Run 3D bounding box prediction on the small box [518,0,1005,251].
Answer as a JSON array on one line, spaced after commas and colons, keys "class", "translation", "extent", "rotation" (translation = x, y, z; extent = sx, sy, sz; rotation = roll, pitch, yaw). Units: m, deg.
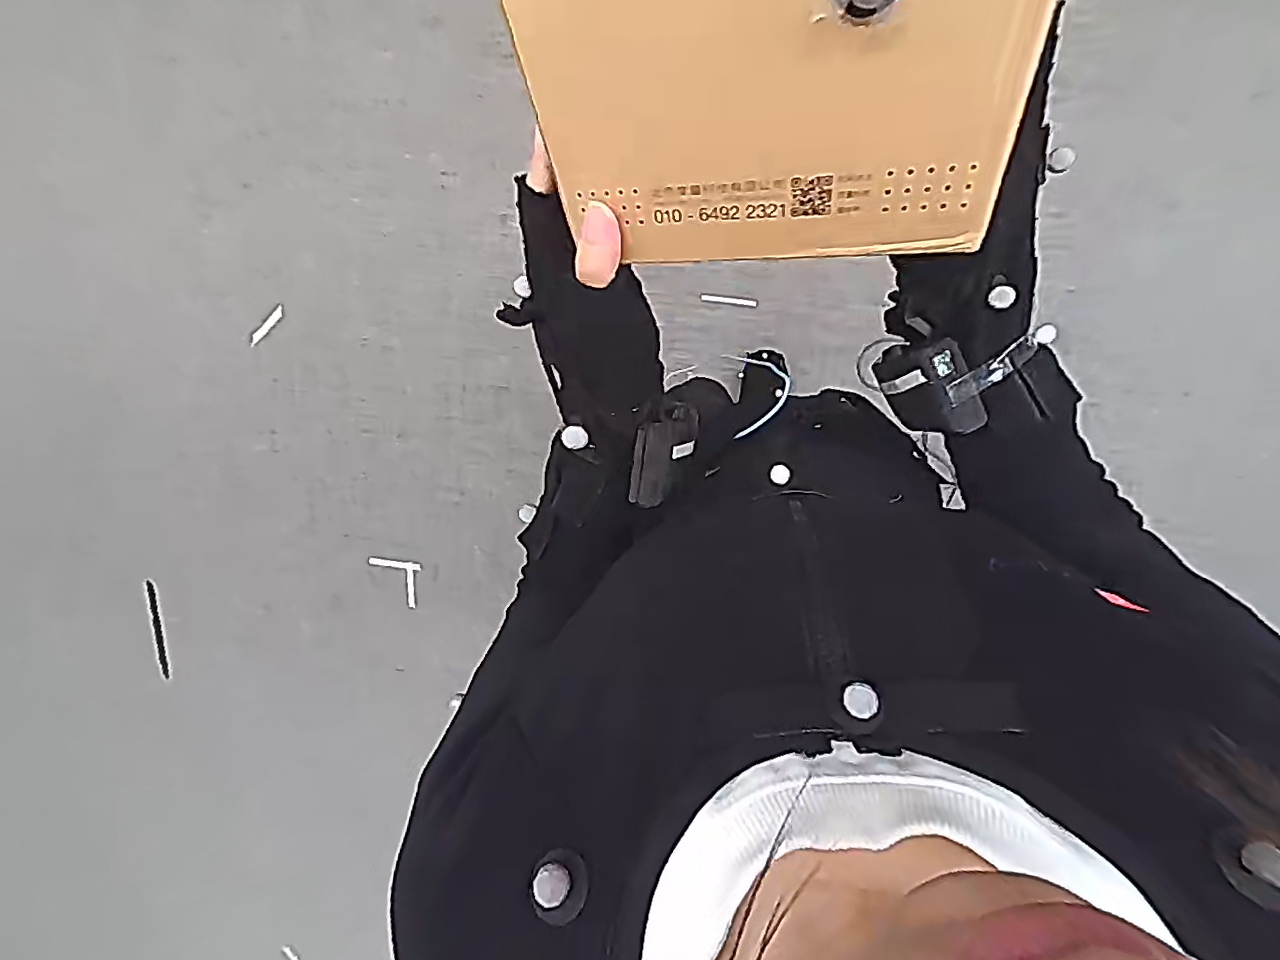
[{"class": "small box", "translation": [0.057, -0.217, 0.233], "extent": [0.168, 0.179, 0.176], "rotation": [6, 144, 18]}]
